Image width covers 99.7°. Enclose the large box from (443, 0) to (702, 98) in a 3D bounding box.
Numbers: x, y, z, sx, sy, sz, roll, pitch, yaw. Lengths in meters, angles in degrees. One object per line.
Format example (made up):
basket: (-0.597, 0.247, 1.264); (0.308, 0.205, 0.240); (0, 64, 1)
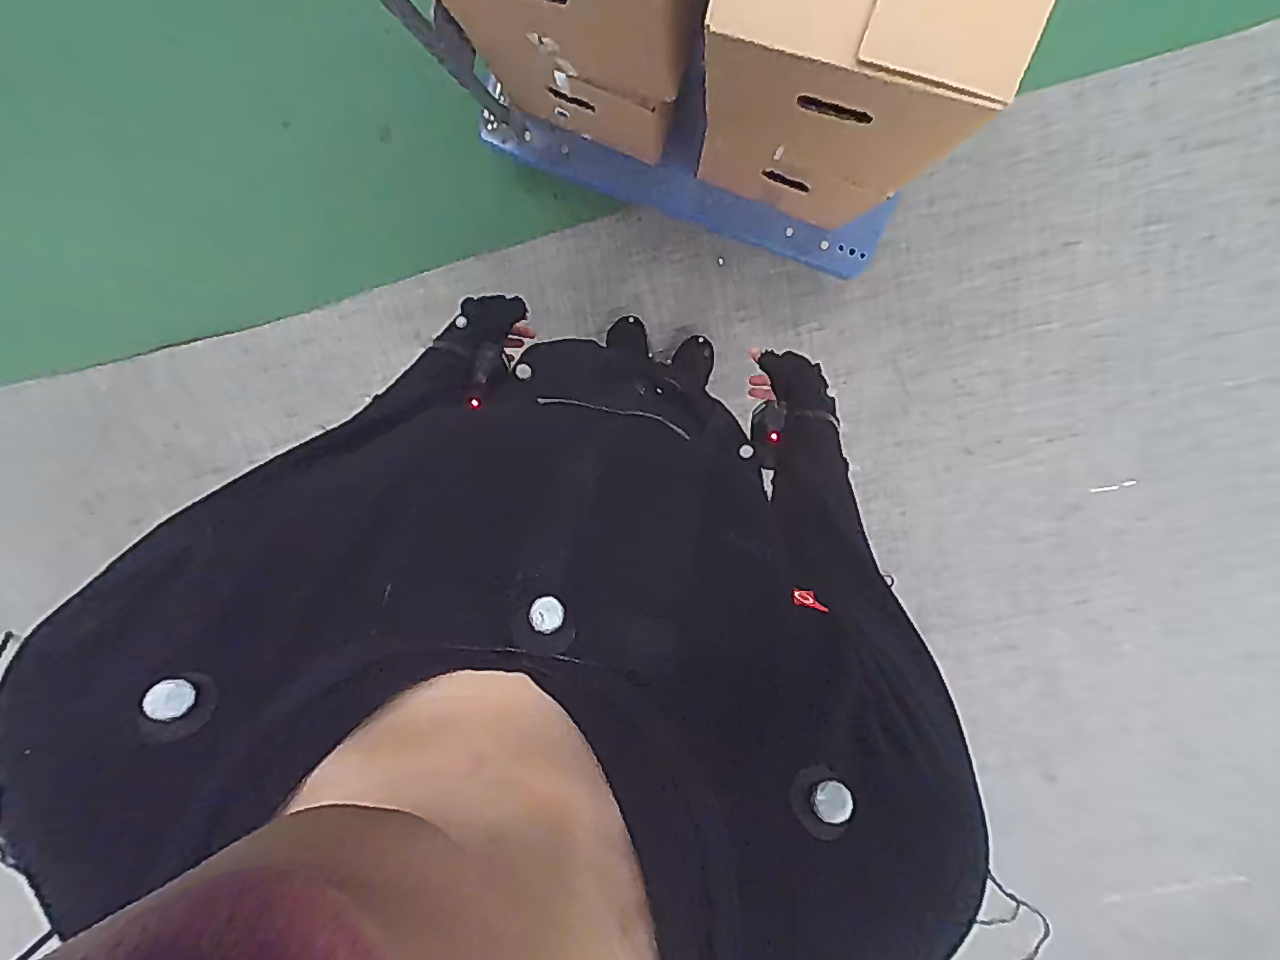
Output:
large box: (-0.060, -0.742, 0.602); (0.320, 0.320, 0.408); (18, 105, 2)
